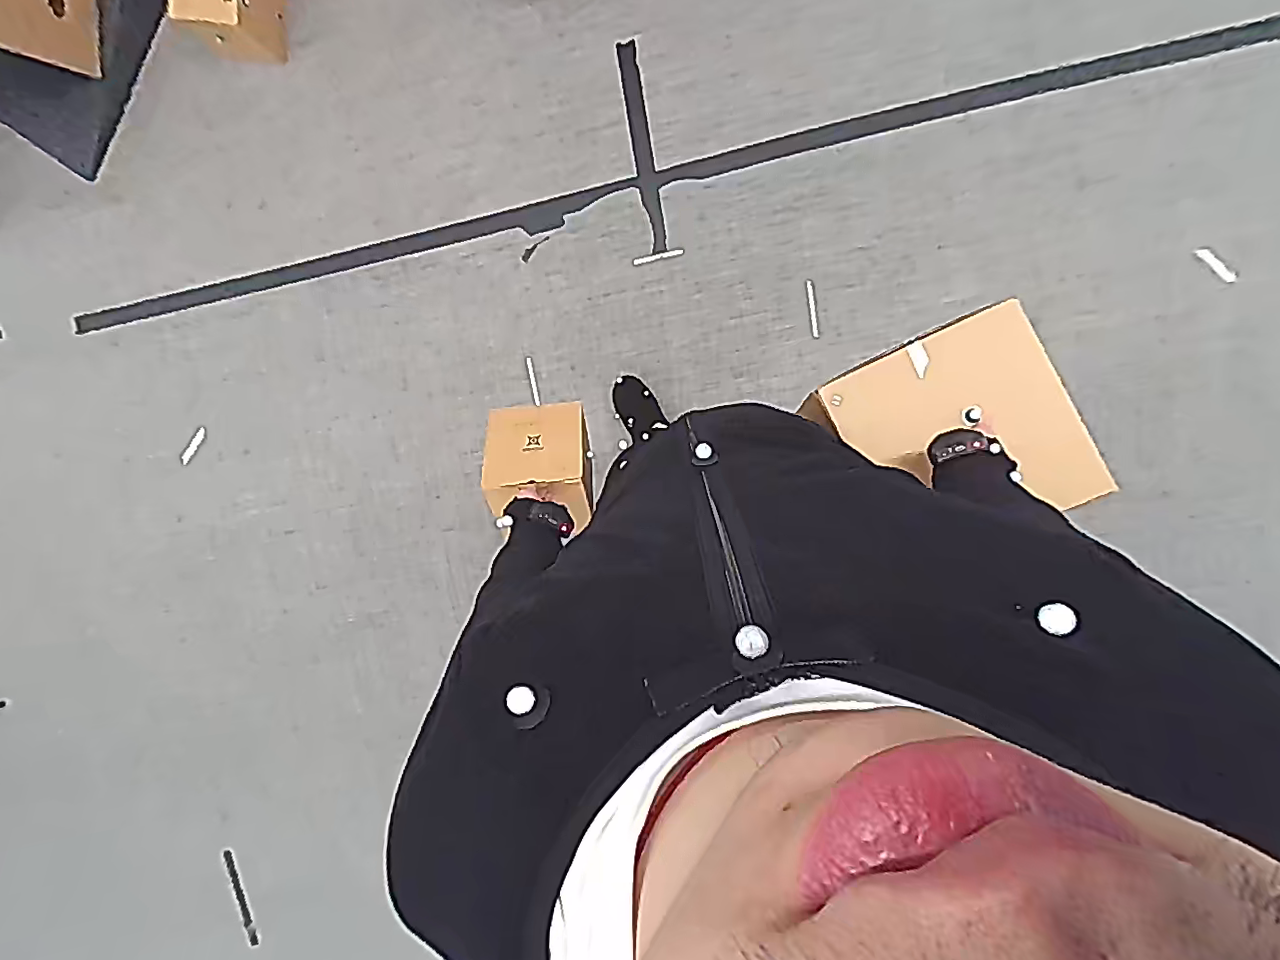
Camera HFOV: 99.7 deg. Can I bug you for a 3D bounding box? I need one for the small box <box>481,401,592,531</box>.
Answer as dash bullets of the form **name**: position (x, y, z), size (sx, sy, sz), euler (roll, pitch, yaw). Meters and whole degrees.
- **small box**: position (-0.177, -0.017, 0.980), size (0.168, 0.176, 0.179), euler (-5, 55, -1)
